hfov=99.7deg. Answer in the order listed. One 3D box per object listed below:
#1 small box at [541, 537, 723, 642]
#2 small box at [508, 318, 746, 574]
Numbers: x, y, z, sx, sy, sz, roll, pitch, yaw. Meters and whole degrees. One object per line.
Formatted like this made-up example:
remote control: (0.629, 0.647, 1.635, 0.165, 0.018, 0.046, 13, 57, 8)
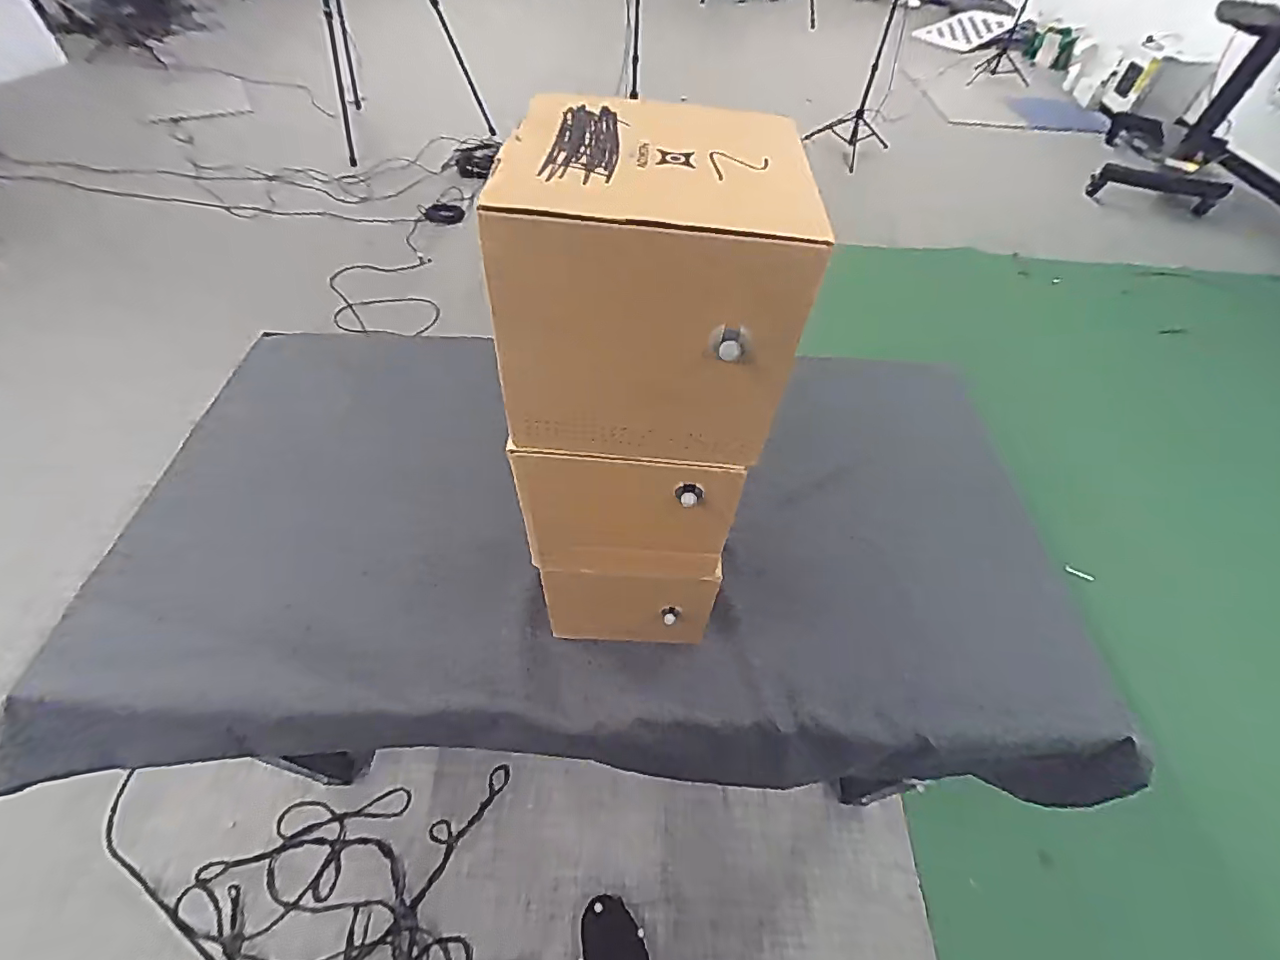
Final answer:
small box: (-0.009, 0.077, 0.625, 0.179, 0.176, 0.168, 2, 51, -1)
small box: (-0.009, -0.026, 0.500, 0.179, 0.176, 0.168, 4, 51, -1)
